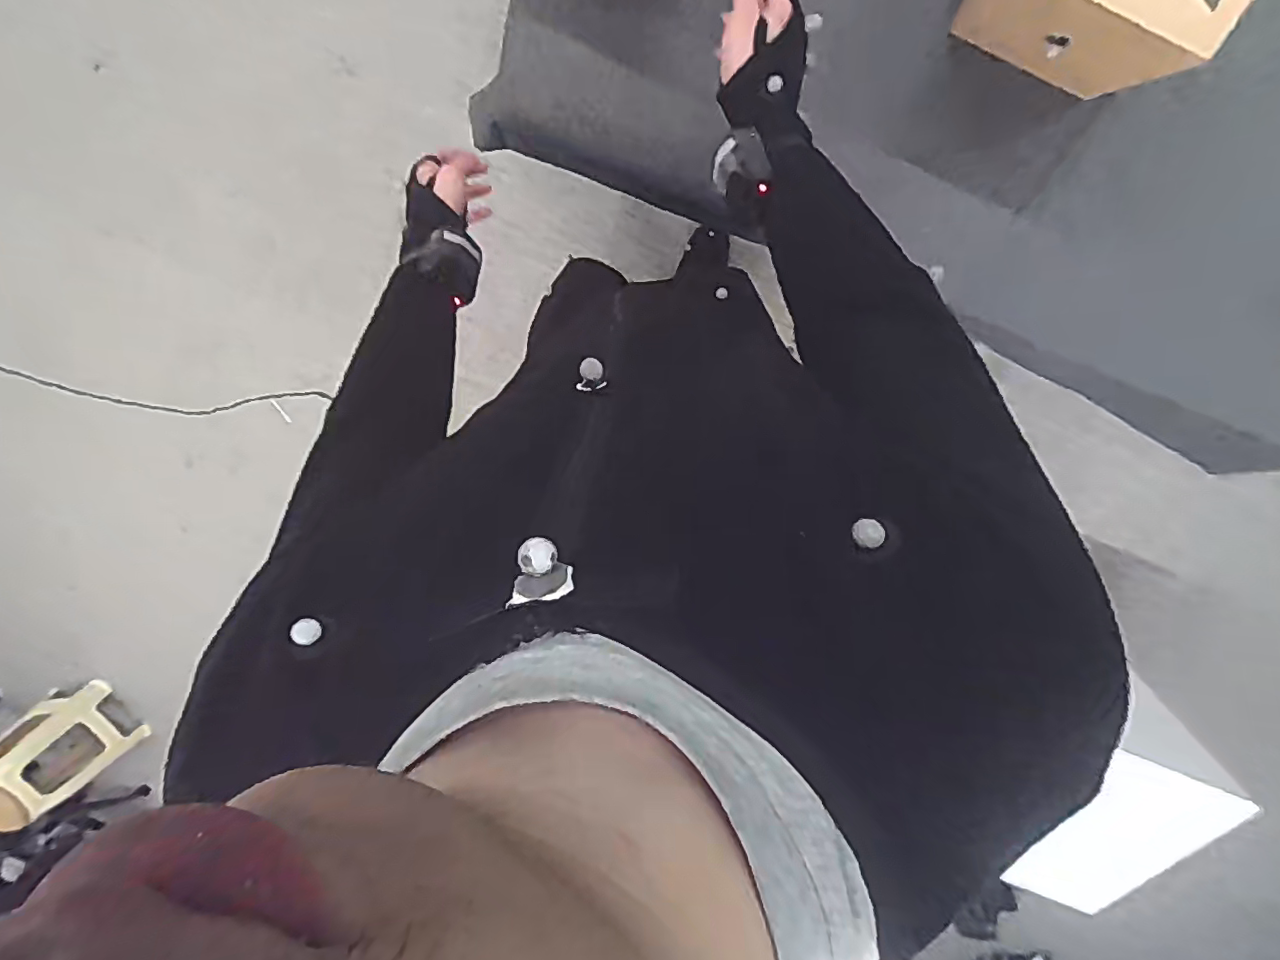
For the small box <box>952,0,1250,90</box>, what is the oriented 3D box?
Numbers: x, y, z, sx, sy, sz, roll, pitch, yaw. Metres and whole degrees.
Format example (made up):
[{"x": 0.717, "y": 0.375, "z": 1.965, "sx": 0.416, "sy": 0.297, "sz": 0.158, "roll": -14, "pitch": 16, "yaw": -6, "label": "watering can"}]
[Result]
[{"x": 0.431, "y": -0.481, "z": 0.481, "sx": 0.179, "sy": 0.176, "sz": 0.168, "roll": 23, "pitch": 115, "yaw": -5, "label": "small box"}]
